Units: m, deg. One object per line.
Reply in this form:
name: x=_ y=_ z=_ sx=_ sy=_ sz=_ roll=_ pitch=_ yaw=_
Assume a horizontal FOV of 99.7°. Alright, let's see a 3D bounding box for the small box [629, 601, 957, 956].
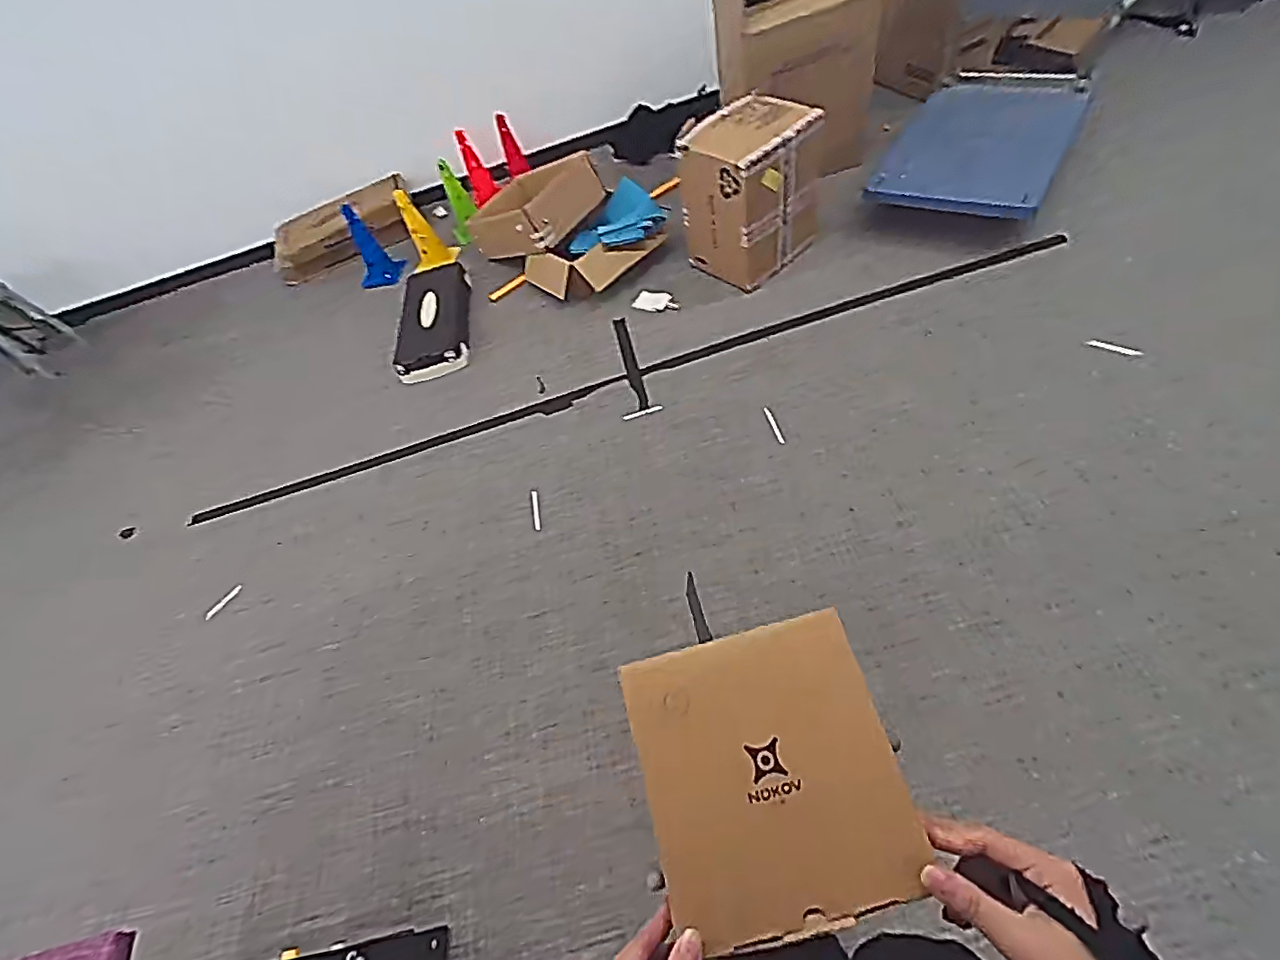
small box: x=0.094 y=0.214 z=0.422 sx=0.168 sy=0.176 sz=0.179 roll=-15 pitch=65 yaw=-1
